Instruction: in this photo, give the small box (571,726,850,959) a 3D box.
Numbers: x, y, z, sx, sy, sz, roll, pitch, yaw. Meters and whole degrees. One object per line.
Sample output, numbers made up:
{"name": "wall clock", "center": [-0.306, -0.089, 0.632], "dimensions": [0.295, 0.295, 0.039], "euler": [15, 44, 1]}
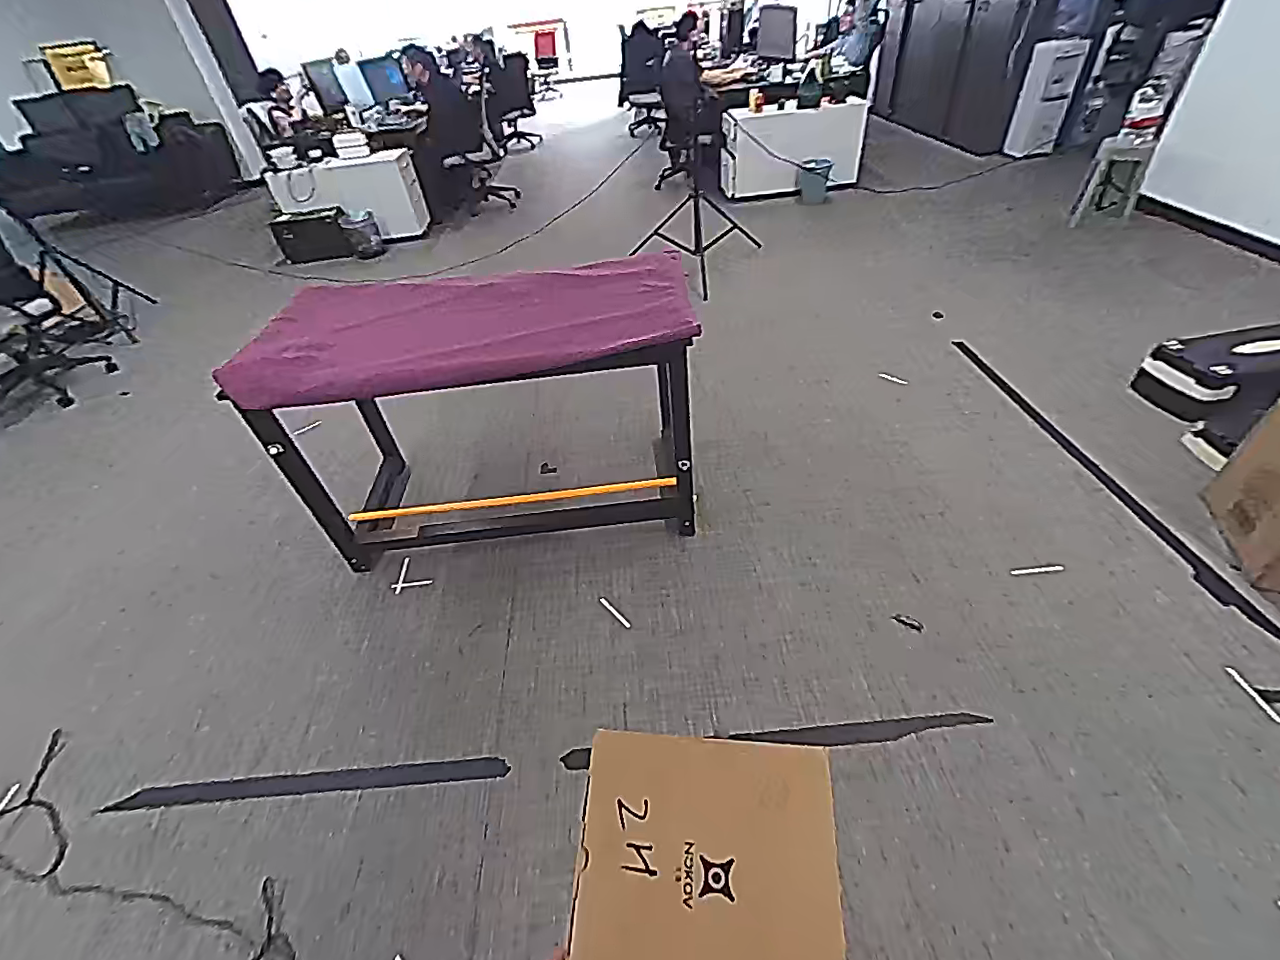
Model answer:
{"name": "small box", "center": [0.057, 0.302, 0.430], "dimensions": [0.179, 0.176, 0.168], "euler": [0, 58, 10]}
